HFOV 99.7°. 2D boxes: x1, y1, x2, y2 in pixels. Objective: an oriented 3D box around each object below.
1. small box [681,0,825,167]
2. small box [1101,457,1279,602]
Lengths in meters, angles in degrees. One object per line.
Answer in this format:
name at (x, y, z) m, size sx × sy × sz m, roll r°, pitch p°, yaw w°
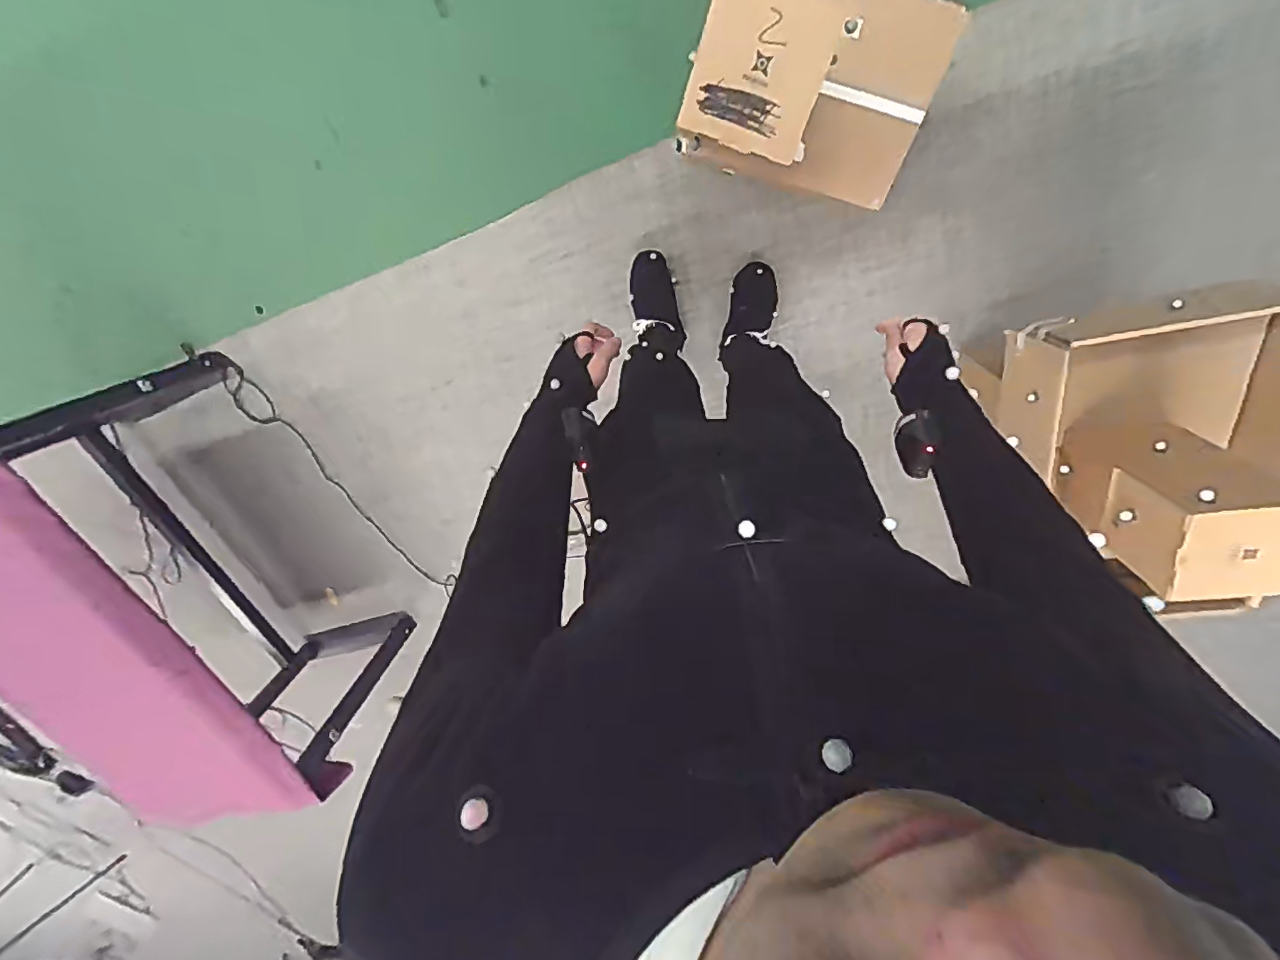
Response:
small box at (0.178, -0.638, 0.894) m, size 0.168 × 0.176 × 0.179 m, roll 19°, pitch 119°, yaw -4°
small box at (0.910, 0.074, 0.877) m, size 0.179 × 0.176 × 0.168 m, roll -7°, pitch 116°, yaw 12°
